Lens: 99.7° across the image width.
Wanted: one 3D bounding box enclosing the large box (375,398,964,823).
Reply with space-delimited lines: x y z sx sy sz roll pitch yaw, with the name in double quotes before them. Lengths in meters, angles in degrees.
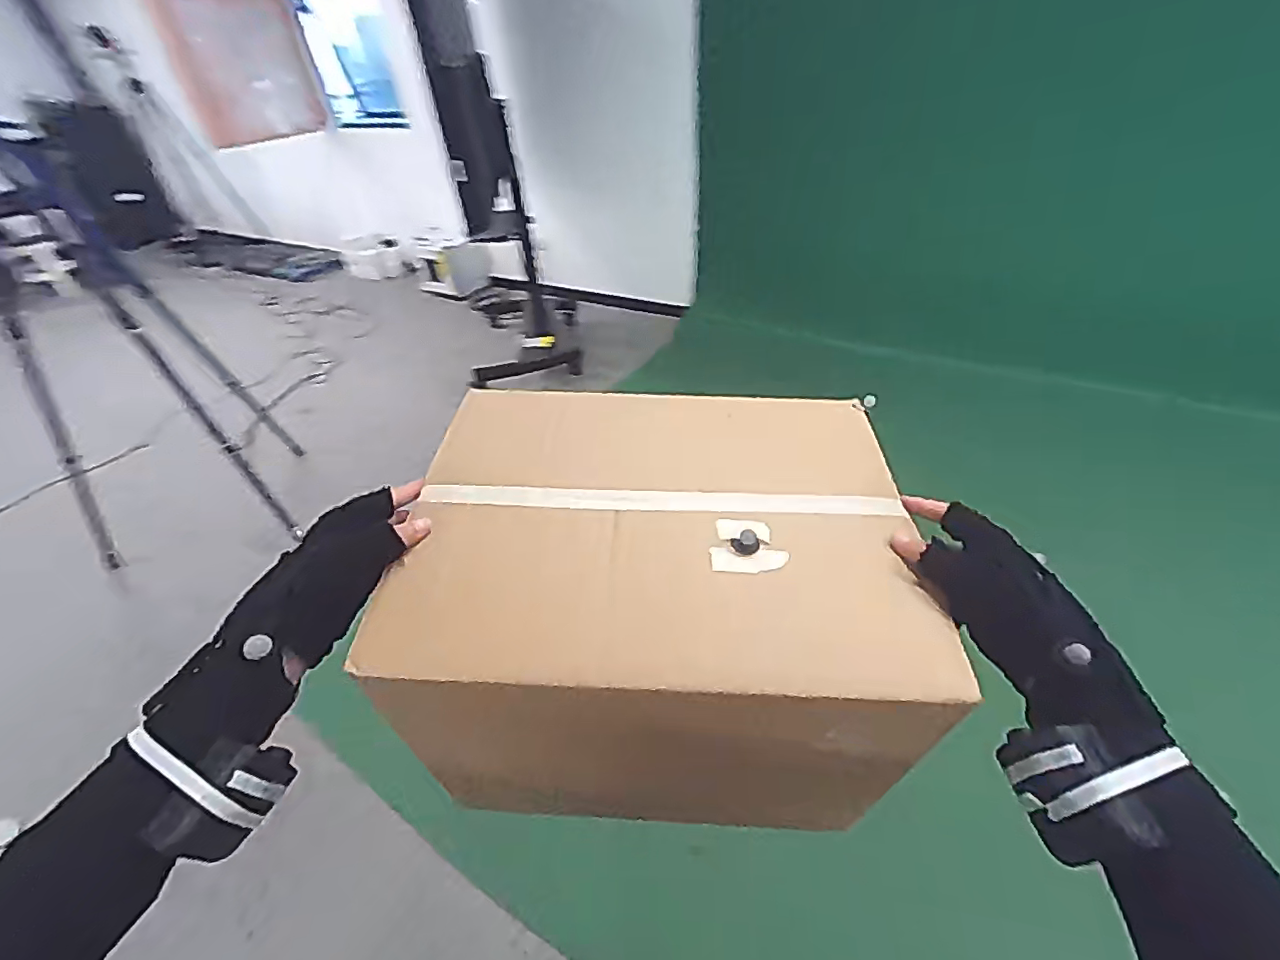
"large box" 0.021 0.133 0.567 0.408 0.320 0.320 3 45 2
